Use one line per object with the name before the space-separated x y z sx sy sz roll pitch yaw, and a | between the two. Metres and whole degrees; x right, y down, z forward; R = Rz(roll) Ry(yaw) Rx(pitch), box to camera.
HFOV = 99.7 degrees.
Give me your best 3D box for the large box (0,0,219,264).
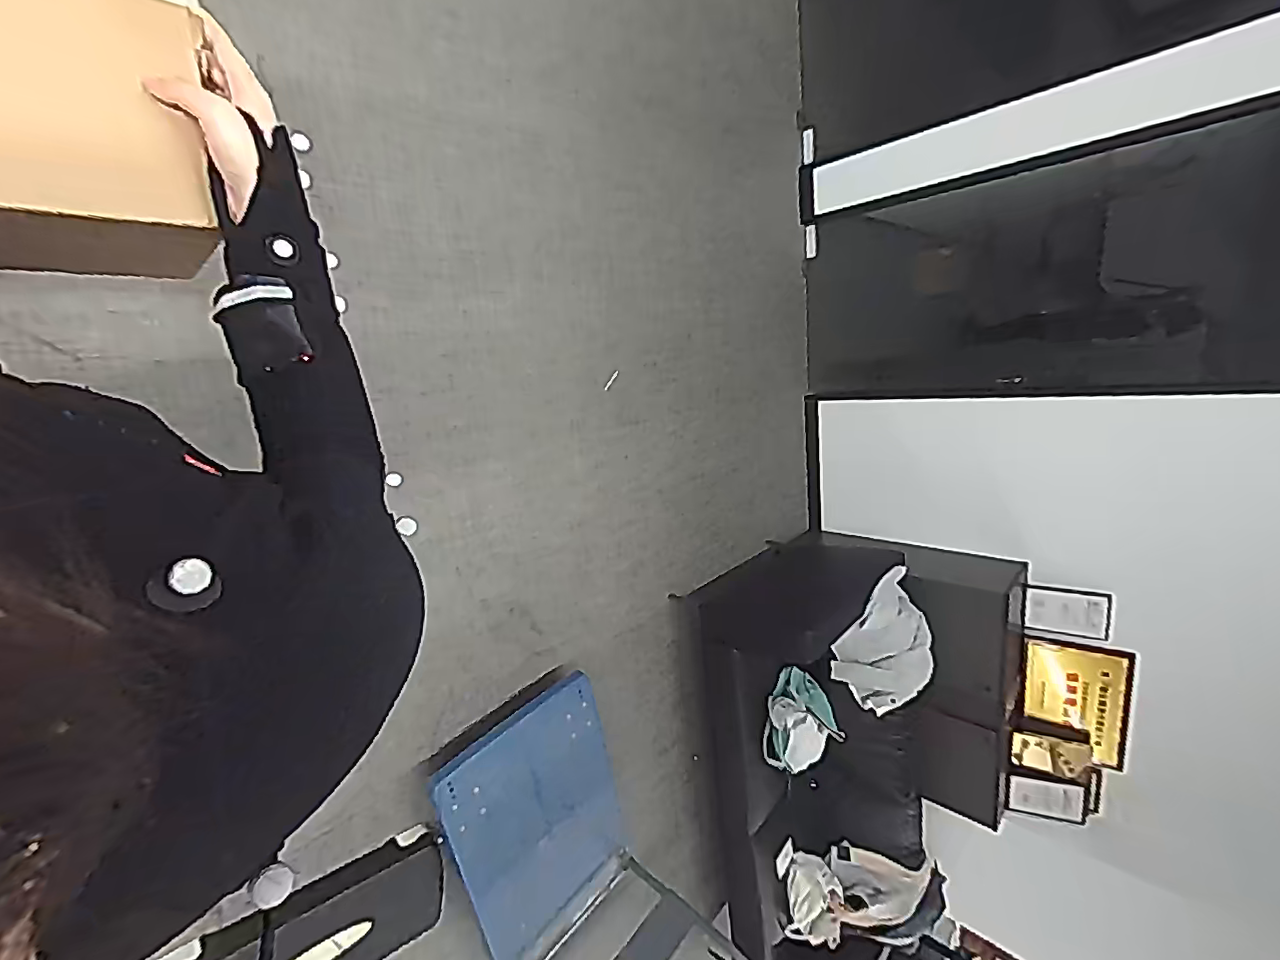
large box | -0.585 -0.336 0.373 0.408 0.320 0.320 -14 108 -40
